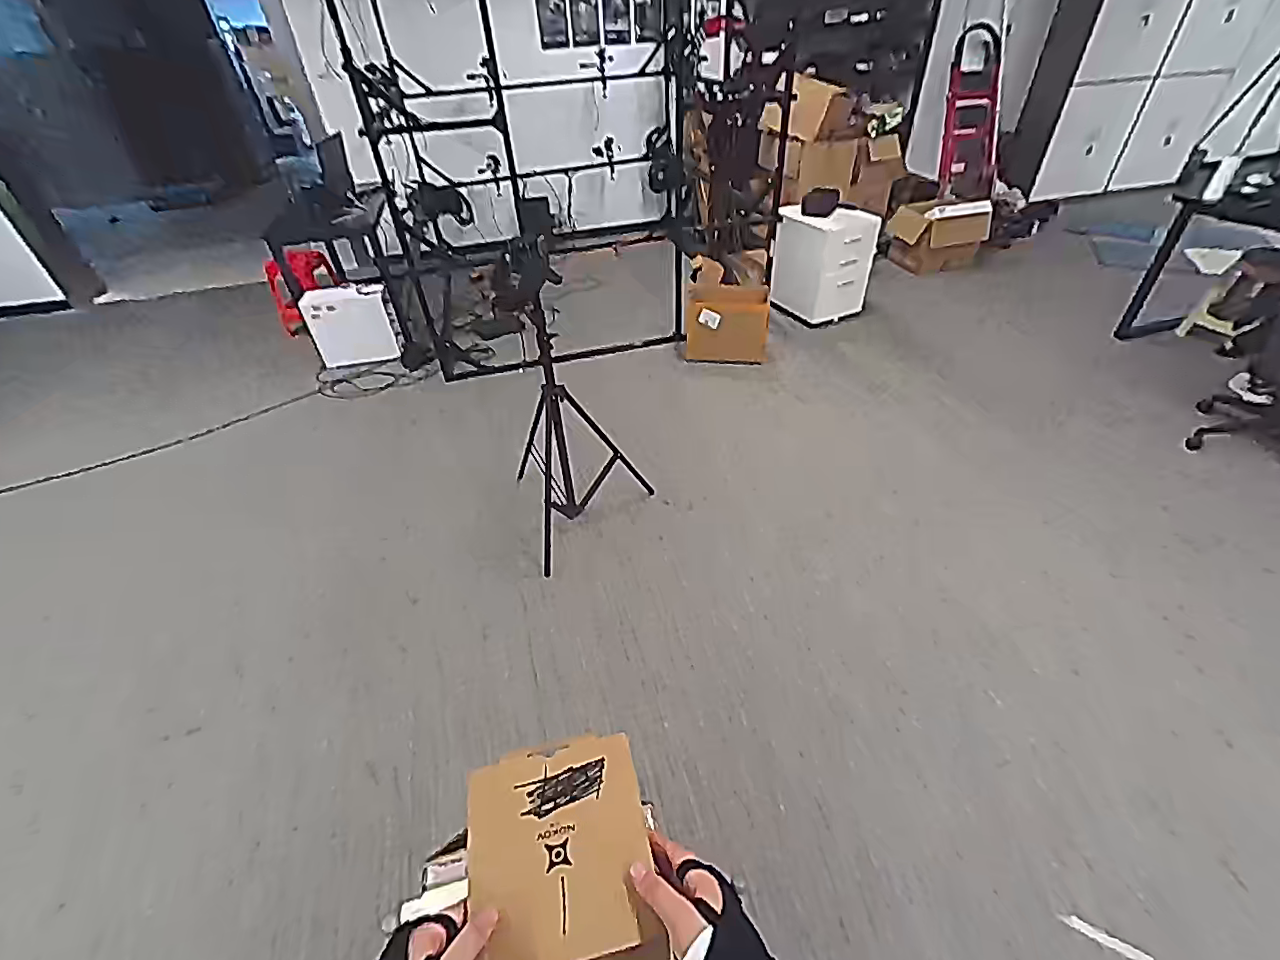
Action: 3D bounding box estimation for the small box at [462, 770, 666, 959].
[{"bbox_3d":[-0.070,0.422,0.525,0.168,0.176,0.179,-10,41,-8],"label":"small box"}]
